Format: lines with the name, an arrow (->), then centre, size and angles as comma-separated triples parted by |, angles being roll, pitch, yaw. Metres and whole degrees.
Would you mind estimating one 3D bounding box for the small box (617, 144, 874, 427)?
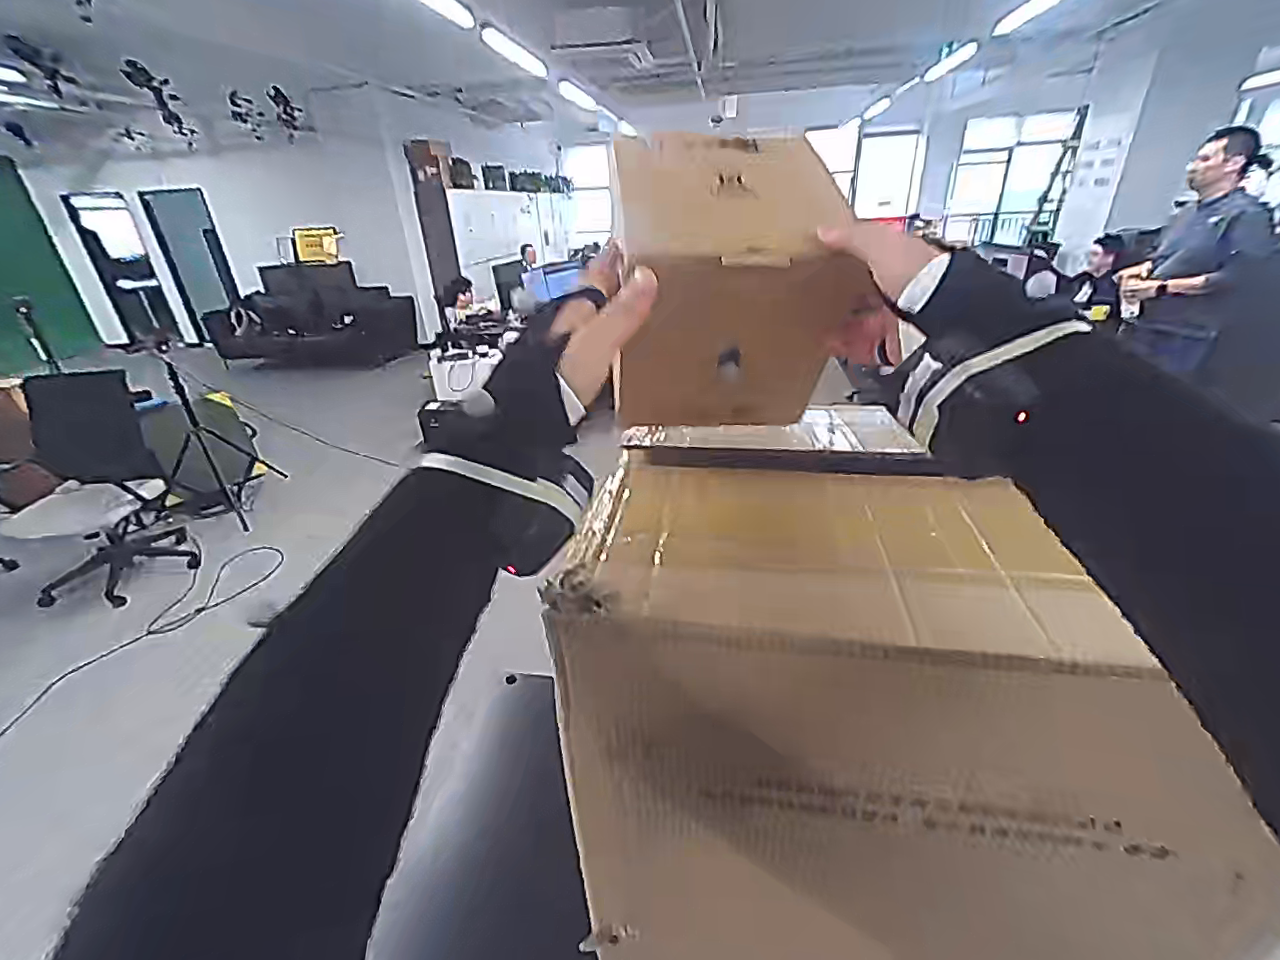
small box -> 0.066, -0.158, 0.461 | 0.168, 0.176, 0.179 | -2, 54, -5
